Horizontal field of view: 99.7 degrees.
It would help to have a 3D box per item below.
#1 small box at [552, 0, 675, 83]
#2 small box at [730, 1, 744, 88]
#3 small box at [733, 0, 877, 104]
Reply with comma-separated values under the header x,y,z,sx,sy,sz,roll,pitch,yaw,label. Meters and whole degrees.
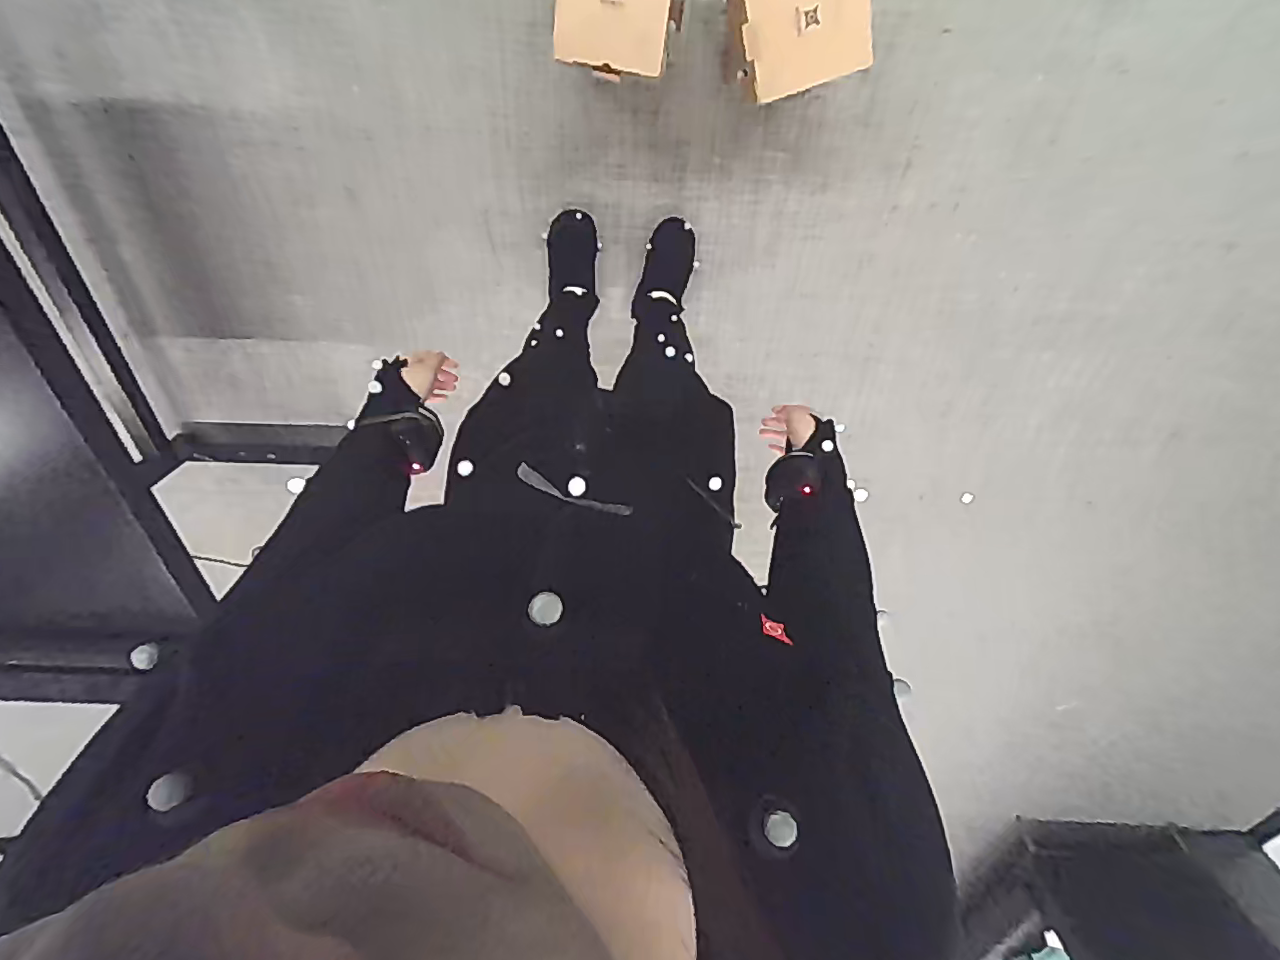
x,y,z,sx,sy,sz,roll,pitch,yaw,label
-0.033,-0.723,0.820,0.168,0.176,0.179,8,125,-4,small box
0.256,-0.804,0.957,0.179,0.176,0.168,-4,126,3,small box
0.245,-0.702,0.831,0.179,0.176,0.168,-14,126,10,small box
